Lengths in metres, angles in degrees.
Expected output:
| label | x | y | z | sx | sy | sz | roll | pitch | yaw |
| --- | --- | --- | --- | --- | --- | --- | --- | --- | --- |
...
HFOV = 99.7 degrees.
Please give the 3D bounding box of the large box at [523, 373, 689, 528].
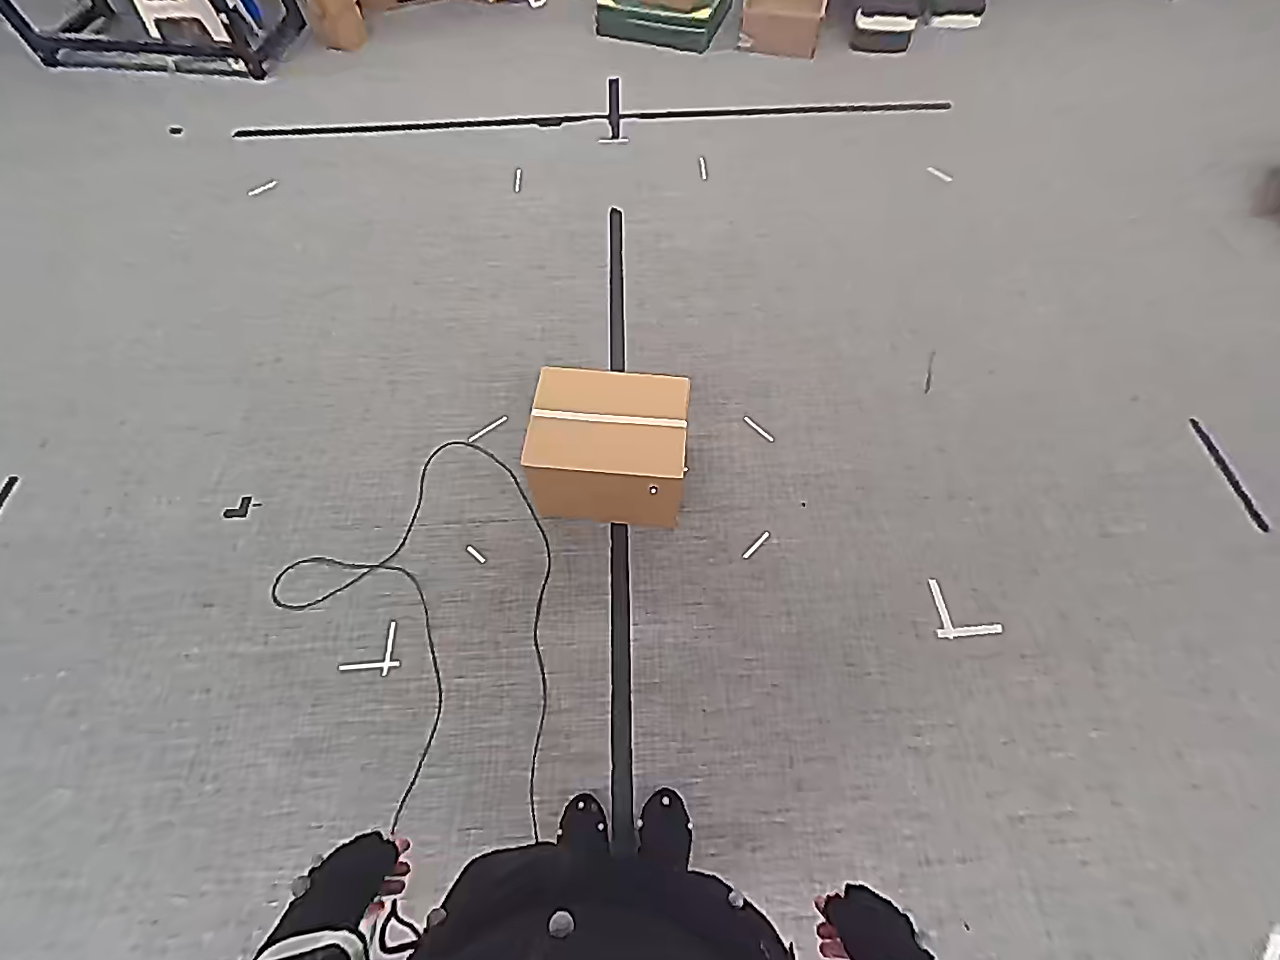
| label | x | y | z | sx | sy | sz | roll | pitch | yaw |
| --- | --- | --- | --- | --- | --- | --- | --- | --- | --- |
| large box | -0.077 | -0.072 | 1.515 | 0.408 | 0.320 | 0.320 | 5 | 62 | 2 |
